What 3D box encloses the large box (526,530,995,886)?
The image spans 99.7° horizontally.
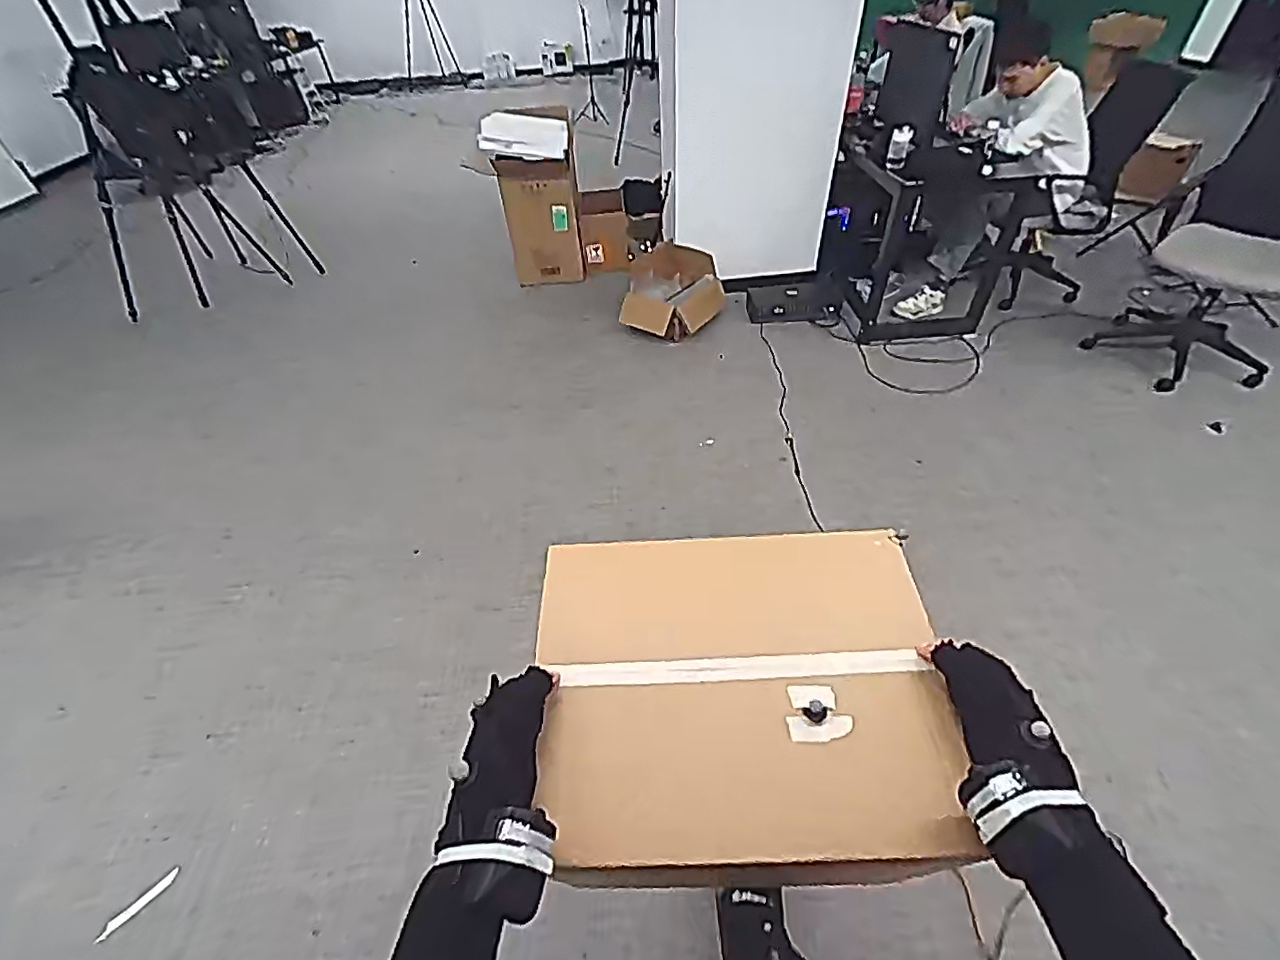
[{"bbox_3d":[0.102,0.284,0.659,0.408,0.320,0.320,-3,50,2],"label":"large box"}]
